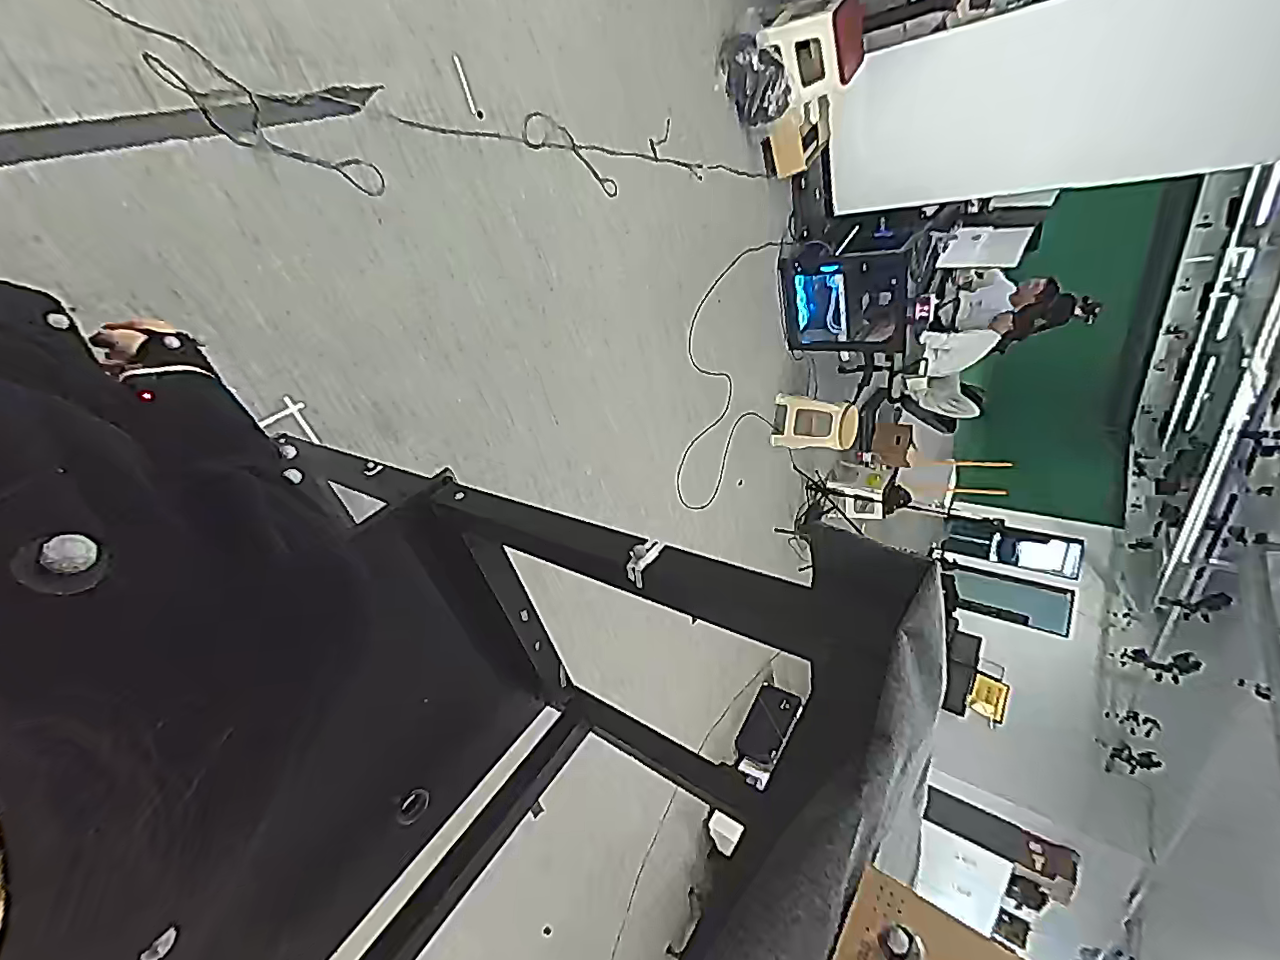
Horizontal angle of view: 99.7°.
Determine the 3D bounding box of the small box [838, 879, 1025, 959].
[{"bbox_3d":[0.188,0.386,0.318,0.168,0.176,0.179,-45,134,-34],"label":"small box"}]
